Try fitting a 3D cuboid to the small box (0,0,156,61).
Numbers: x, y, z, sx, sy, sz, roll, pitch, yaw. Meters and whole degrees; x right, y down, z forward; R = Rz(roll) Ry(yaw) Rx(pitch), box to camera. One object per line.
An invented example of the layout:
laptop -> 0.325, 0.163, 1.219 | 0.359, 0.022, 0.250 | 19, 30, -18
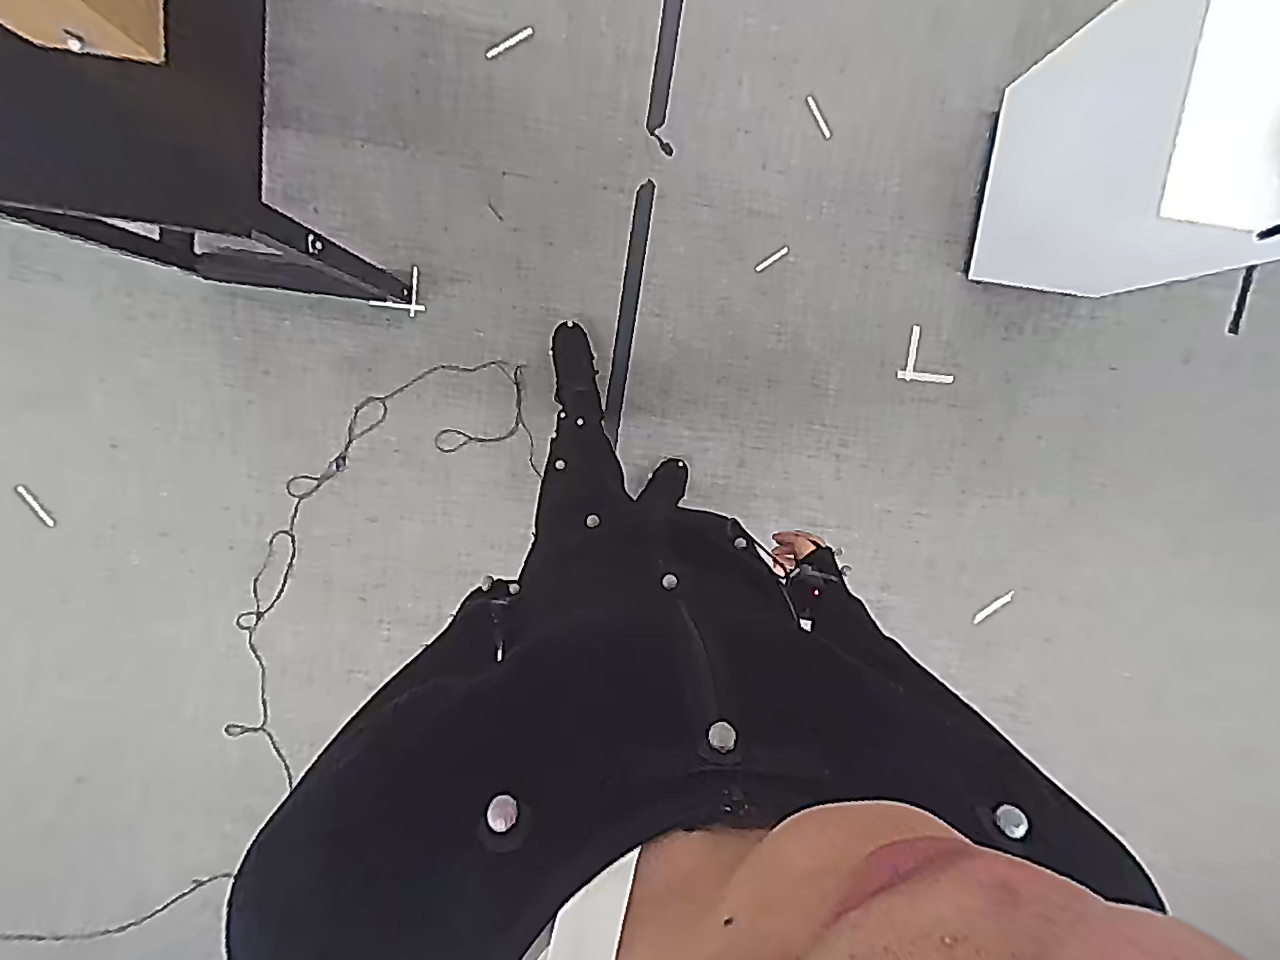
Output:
small box -> -0.742, -0.659, 0.664 | 0.179, 0.176, 0.168 | 5, 98, -4
